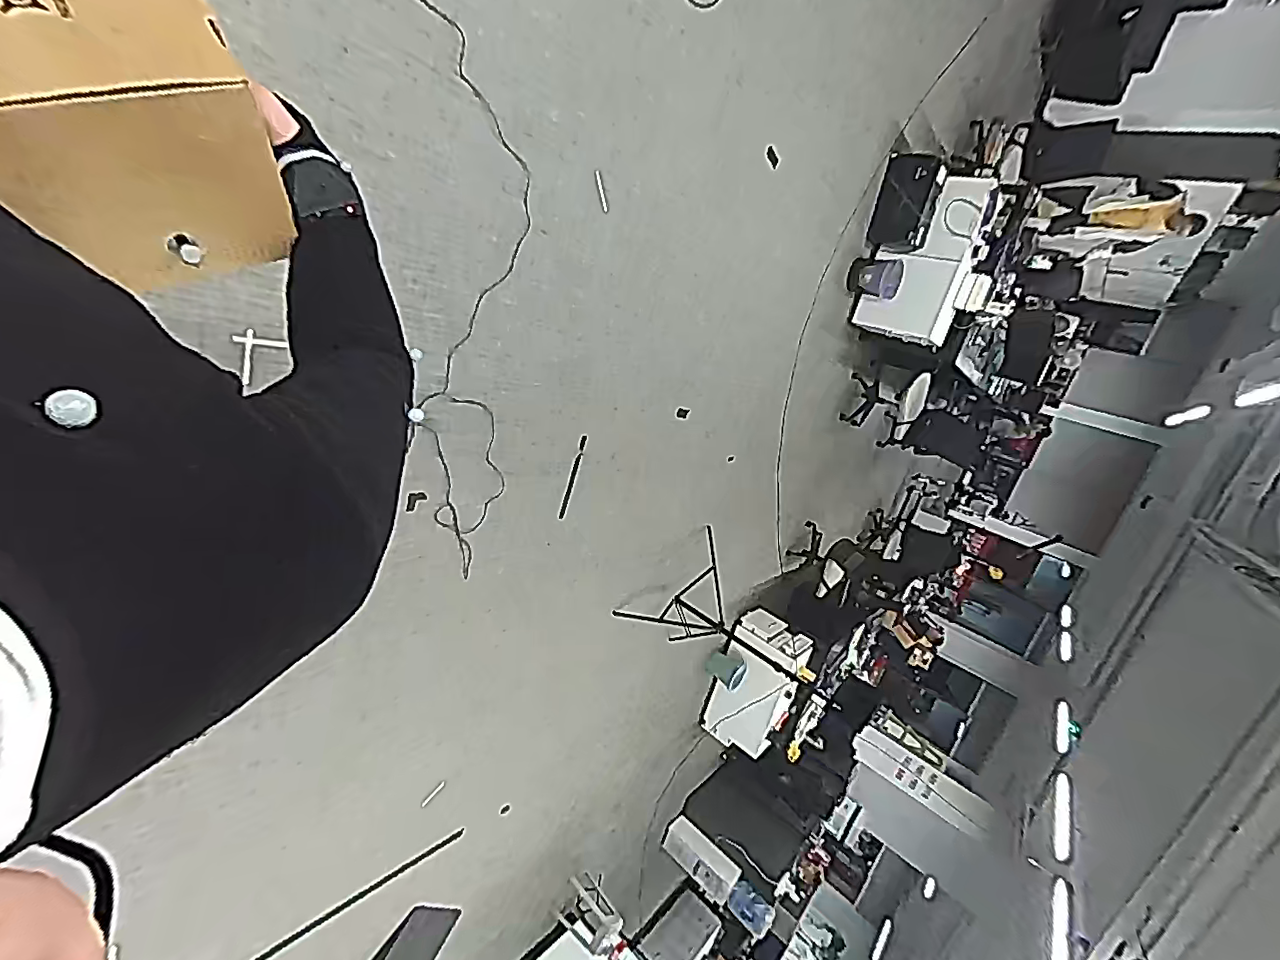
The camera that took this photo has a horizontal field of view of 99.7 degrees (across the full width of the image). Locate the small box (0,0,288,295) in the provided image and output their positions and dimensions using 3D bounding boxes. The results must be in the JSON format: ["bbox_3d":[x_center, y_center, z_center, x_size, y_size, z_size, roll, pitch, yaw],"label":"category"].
[{"bbox_3d":[-0.412,-0.281,0.430,0.179,0.168,0.176,-30,171,-28],"label":"small box"}]
